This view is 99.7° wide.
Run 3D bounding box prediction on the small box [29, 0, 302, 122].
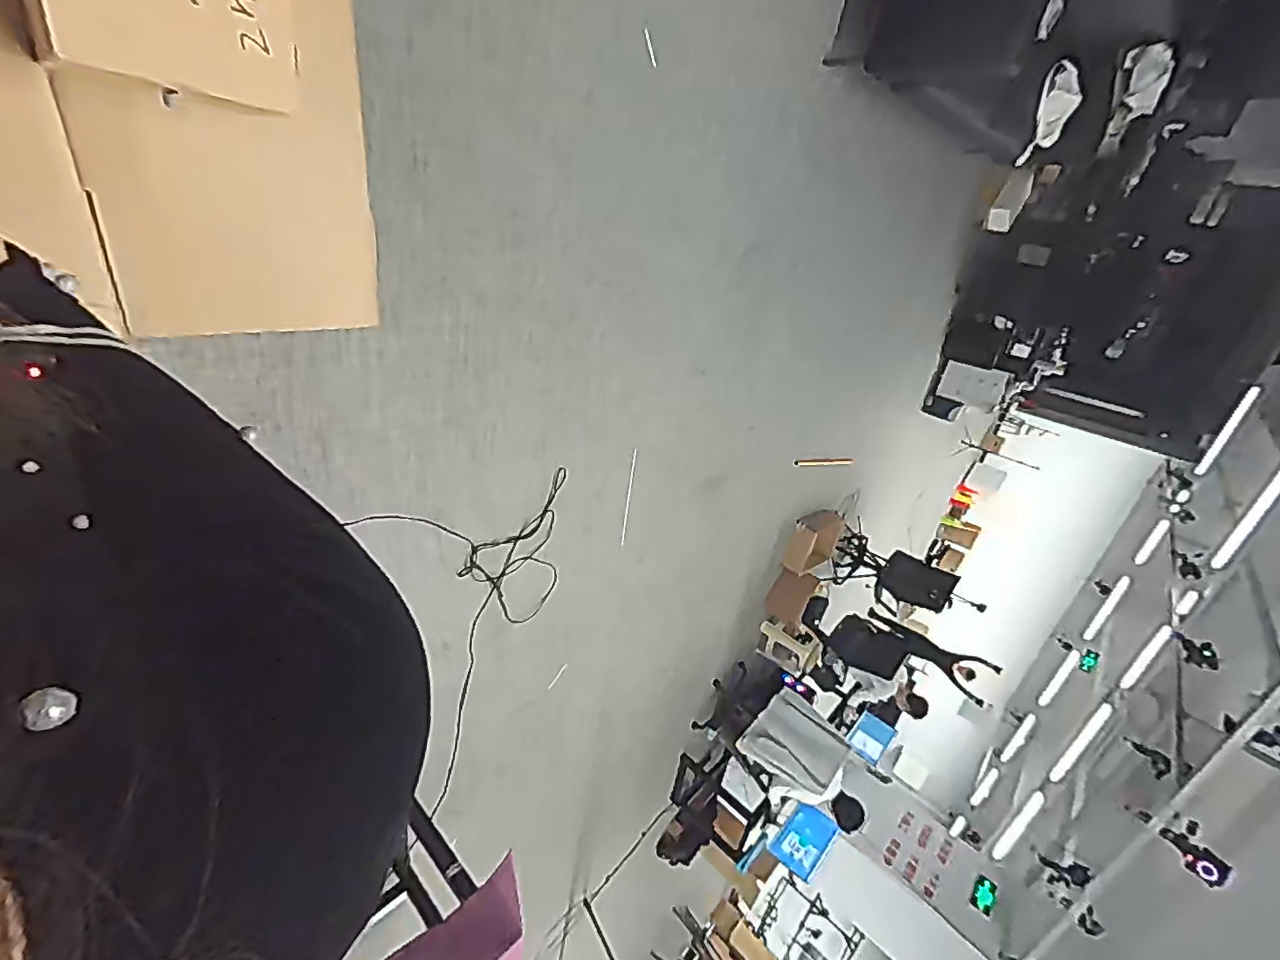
[{"bbox_3d":[-0.440,-0.445,0.495,0.179,0.176,0.168,-16,126,-44],"label":"small box"}]
